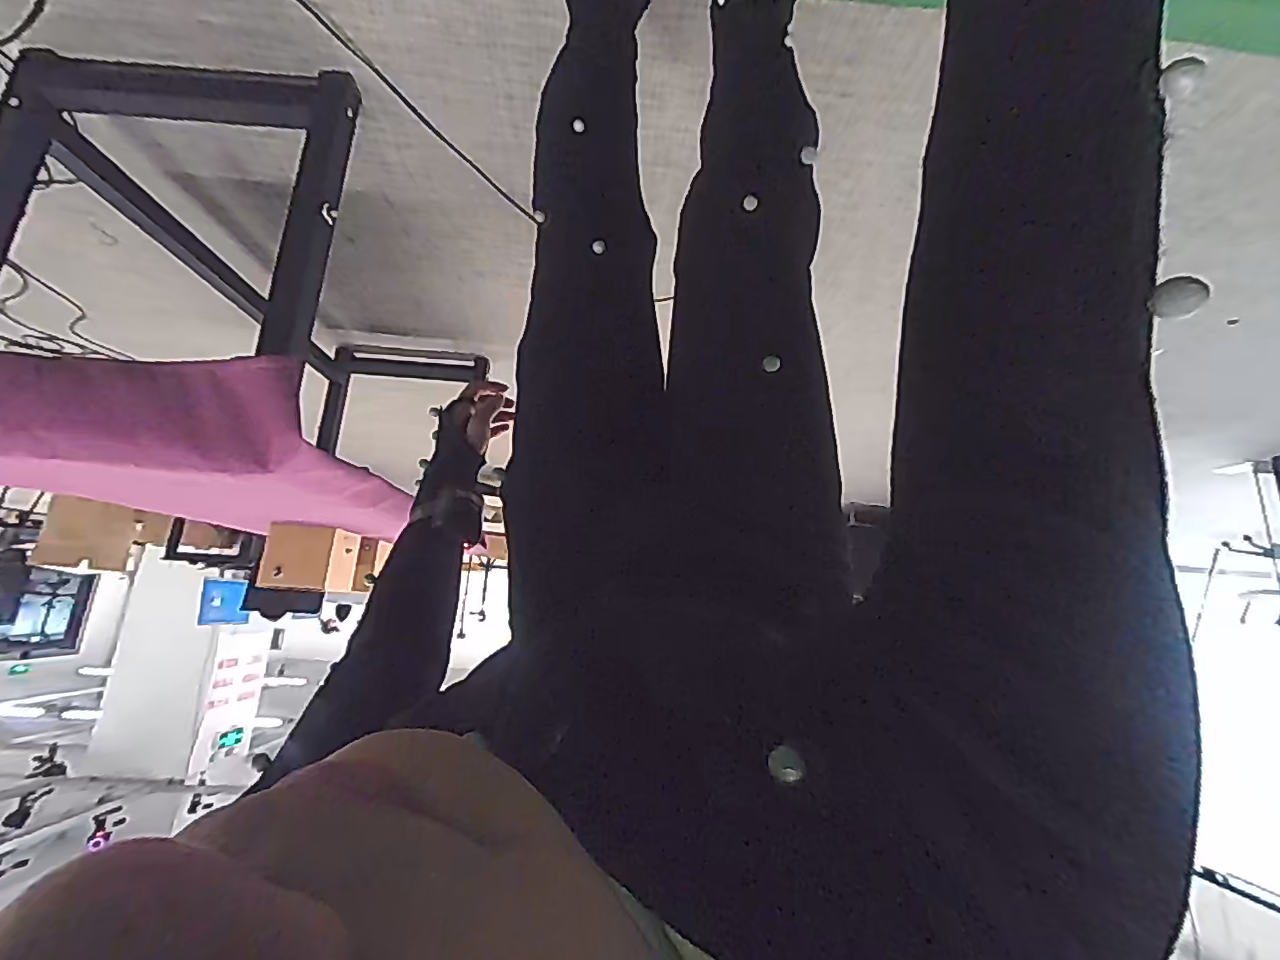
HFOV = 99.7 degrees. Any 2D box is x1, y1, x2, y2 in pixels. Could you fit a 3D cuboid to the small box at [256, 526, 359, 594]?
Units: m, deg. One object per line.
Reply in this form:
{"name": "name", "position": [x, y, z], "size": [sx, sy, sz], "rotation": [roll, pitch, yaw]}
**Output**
{"name": "small box", "position": [-0.907, 0.221, 1.492], "size": [0.179, 0.176, 0.168], "rotation": [4, 167, -5]}

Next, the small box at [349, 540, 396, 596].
{"name": "small box", "position": [-0.906, 0.281, 1.740], "size": [0.168, 0.176, 0.179], "rotation": [4, 167, -4]}
